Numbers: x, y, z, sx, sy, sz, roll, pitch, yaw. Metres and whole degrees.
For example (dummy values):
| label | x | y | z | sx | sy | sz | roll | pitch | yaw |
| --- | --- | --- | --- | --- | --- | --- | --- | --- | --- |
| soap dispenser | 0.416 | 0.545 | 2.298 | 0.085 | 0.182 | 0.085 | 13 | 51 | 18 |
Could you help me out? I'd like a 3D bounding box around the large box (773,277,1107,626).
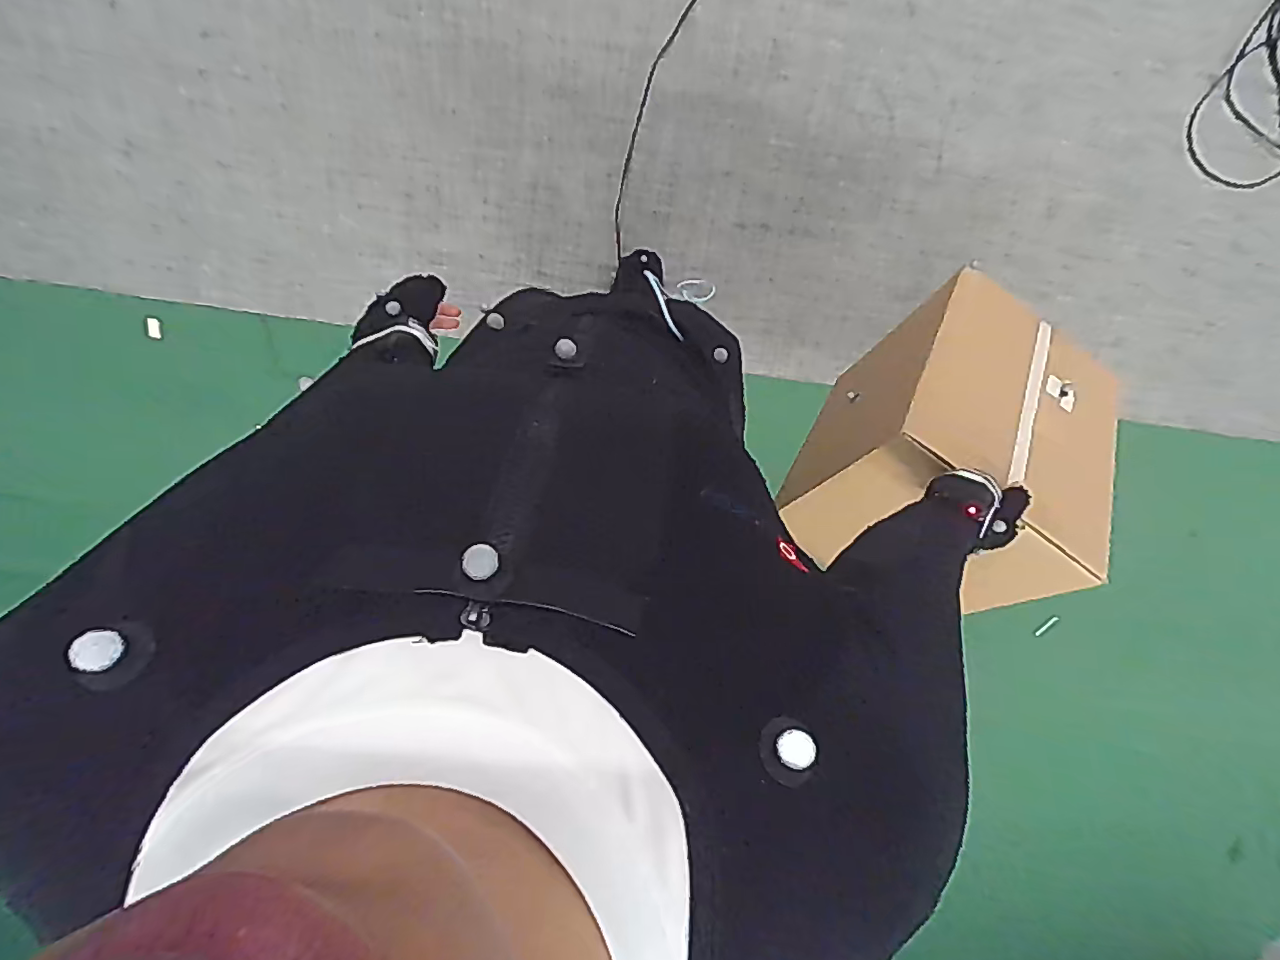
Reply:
| label | x | y | z | sx | sy | sz | roll | pitch | yaw |
| --- | --- | --- | --- | --- | --- | --- | --- | --- | --- |
| large box | 0.480 | -0.035 | 0.883 | 0.320 | 0.408 | 0.320 | 37 | 148 | -2 |
